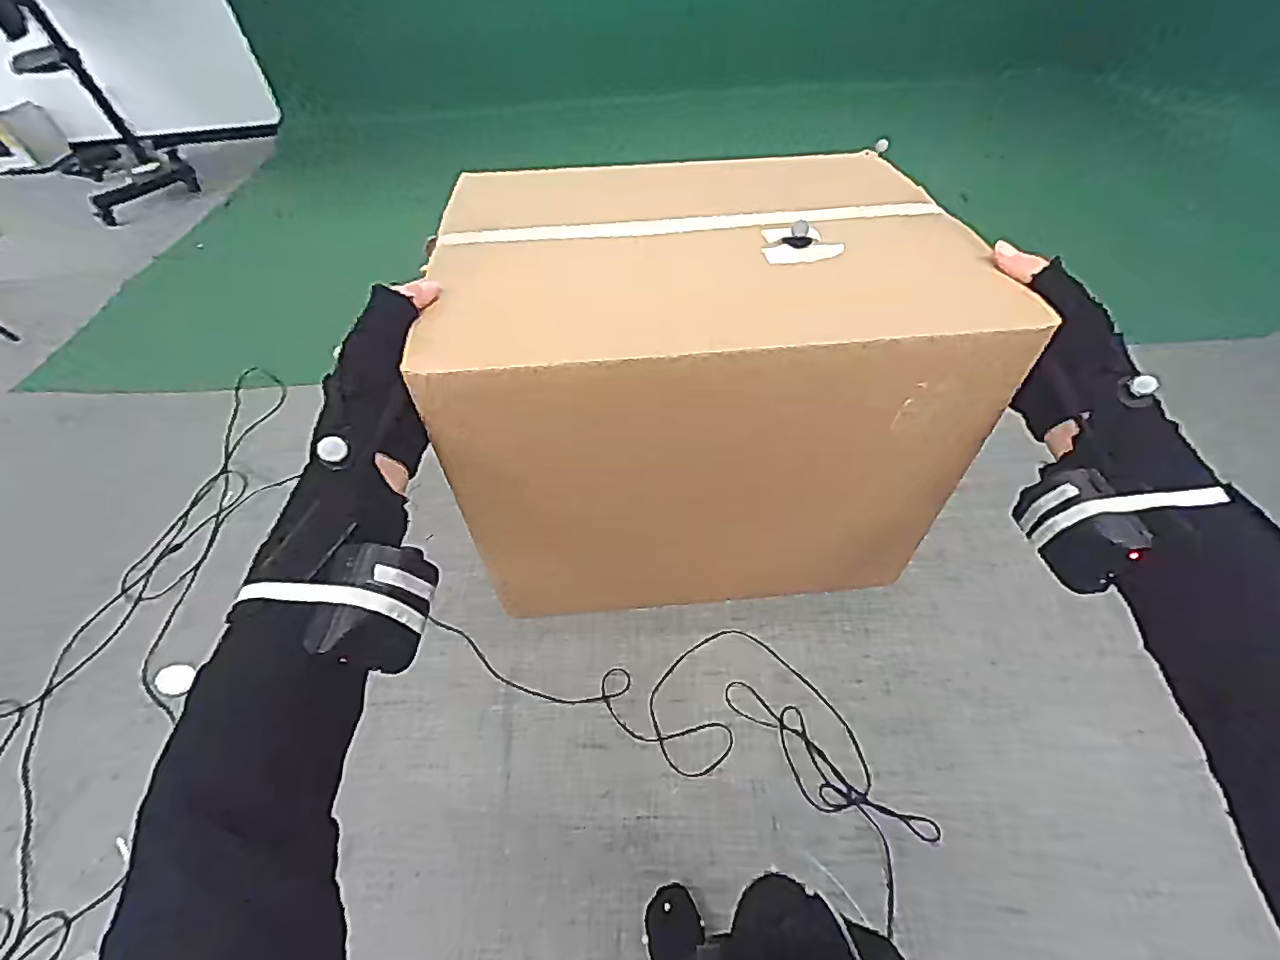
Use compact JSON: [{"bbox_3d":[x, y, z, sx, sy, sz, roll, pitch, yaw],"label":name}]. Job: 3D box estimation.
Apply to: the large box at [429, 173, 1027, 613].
[{"bbox_3d":[0.047,-0.089,0.554,0.408,0.320,0.320,-4,49,-4],"label":"large box"}]
